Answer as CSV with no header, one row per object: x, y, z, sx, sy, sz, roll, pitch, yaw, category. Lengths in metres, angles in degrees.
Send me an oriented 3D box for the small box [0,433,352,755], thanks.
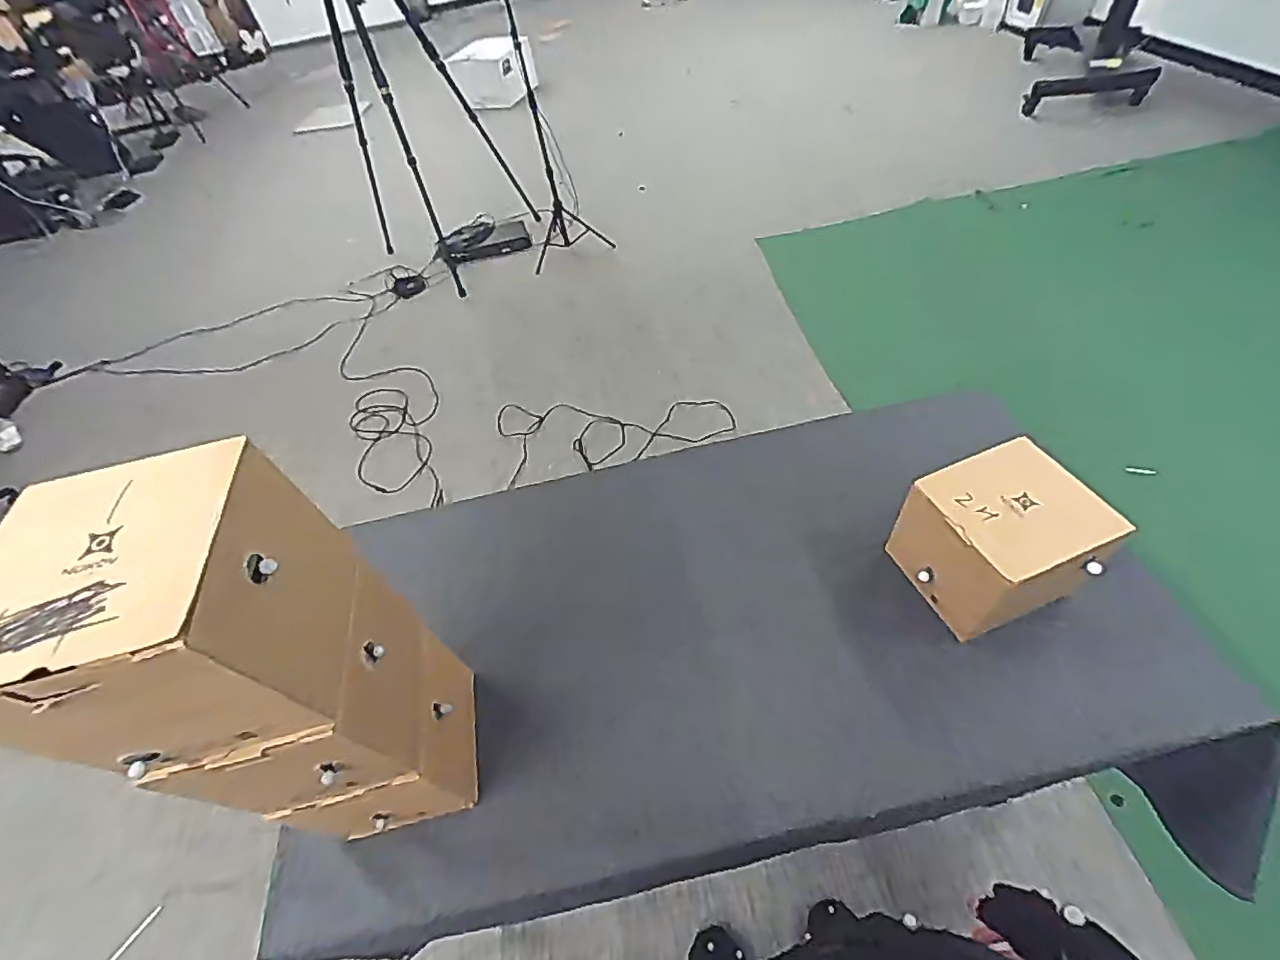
-0.352,0.096,0.422,0.168,0.176,0.179,-14,51,-4,small box

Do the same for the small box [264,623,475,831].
-0.313,0.307,0.669,0.168,0.176,0.179,-14,51,-3,small box

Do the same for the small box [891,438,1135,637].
0.469,0.079,0.716,0.179,0.176,0.168,-21,51,-7,small box

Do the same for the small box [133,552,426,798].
-0.331,0.203,0.544,0.168,0.176,0.179,-13,51,-3,small box
